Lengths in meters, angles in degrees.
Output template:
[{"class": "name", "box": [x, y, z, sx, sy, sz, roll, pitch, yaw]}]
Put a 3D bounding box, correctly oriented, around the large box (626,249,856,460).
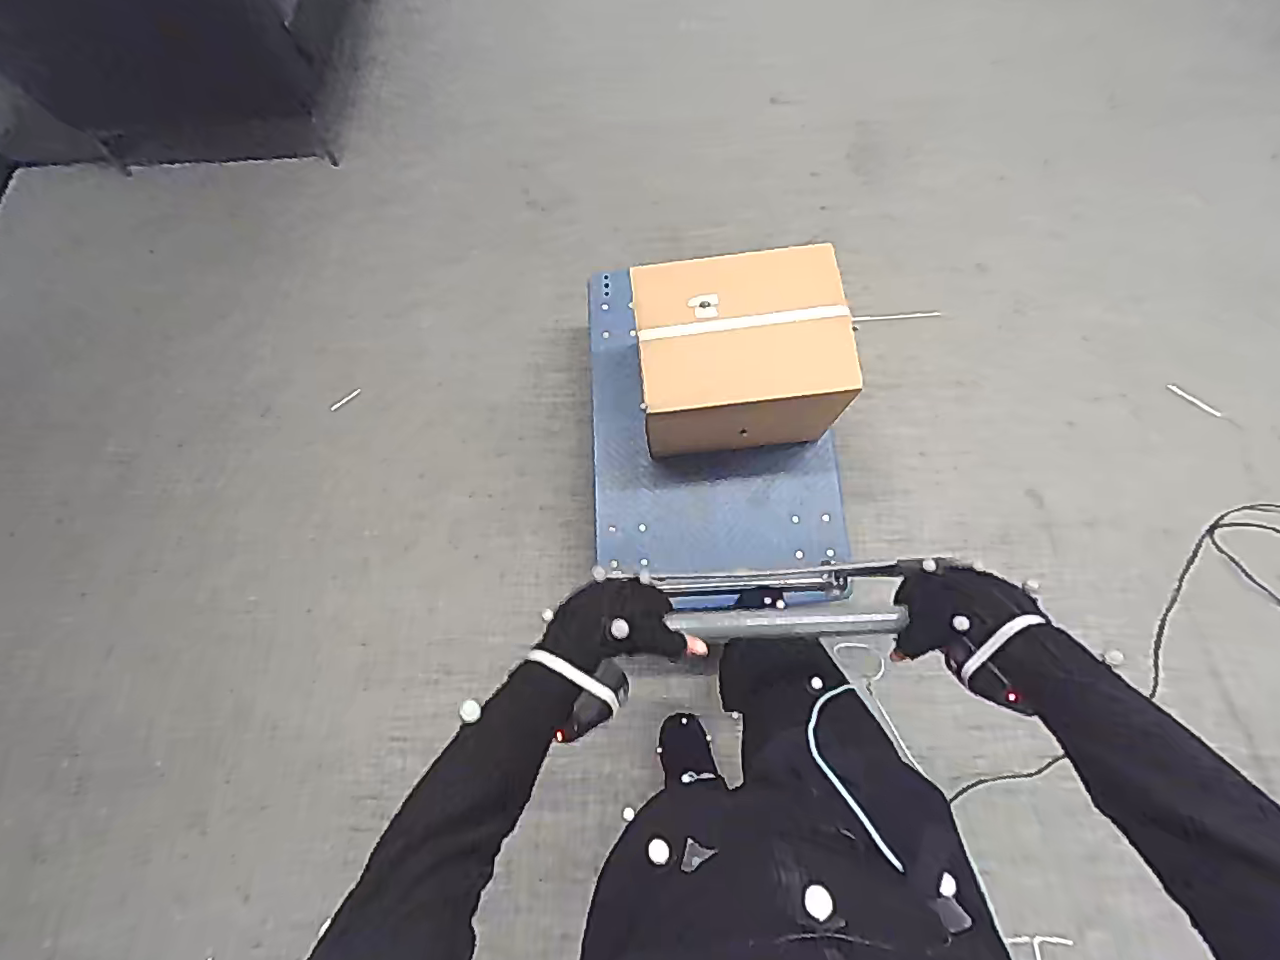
[{"class": "large box", "box": [0.199, -0.251, 1.189, 0.408, 0.320, 0.320, -8, 77, 2]}]
